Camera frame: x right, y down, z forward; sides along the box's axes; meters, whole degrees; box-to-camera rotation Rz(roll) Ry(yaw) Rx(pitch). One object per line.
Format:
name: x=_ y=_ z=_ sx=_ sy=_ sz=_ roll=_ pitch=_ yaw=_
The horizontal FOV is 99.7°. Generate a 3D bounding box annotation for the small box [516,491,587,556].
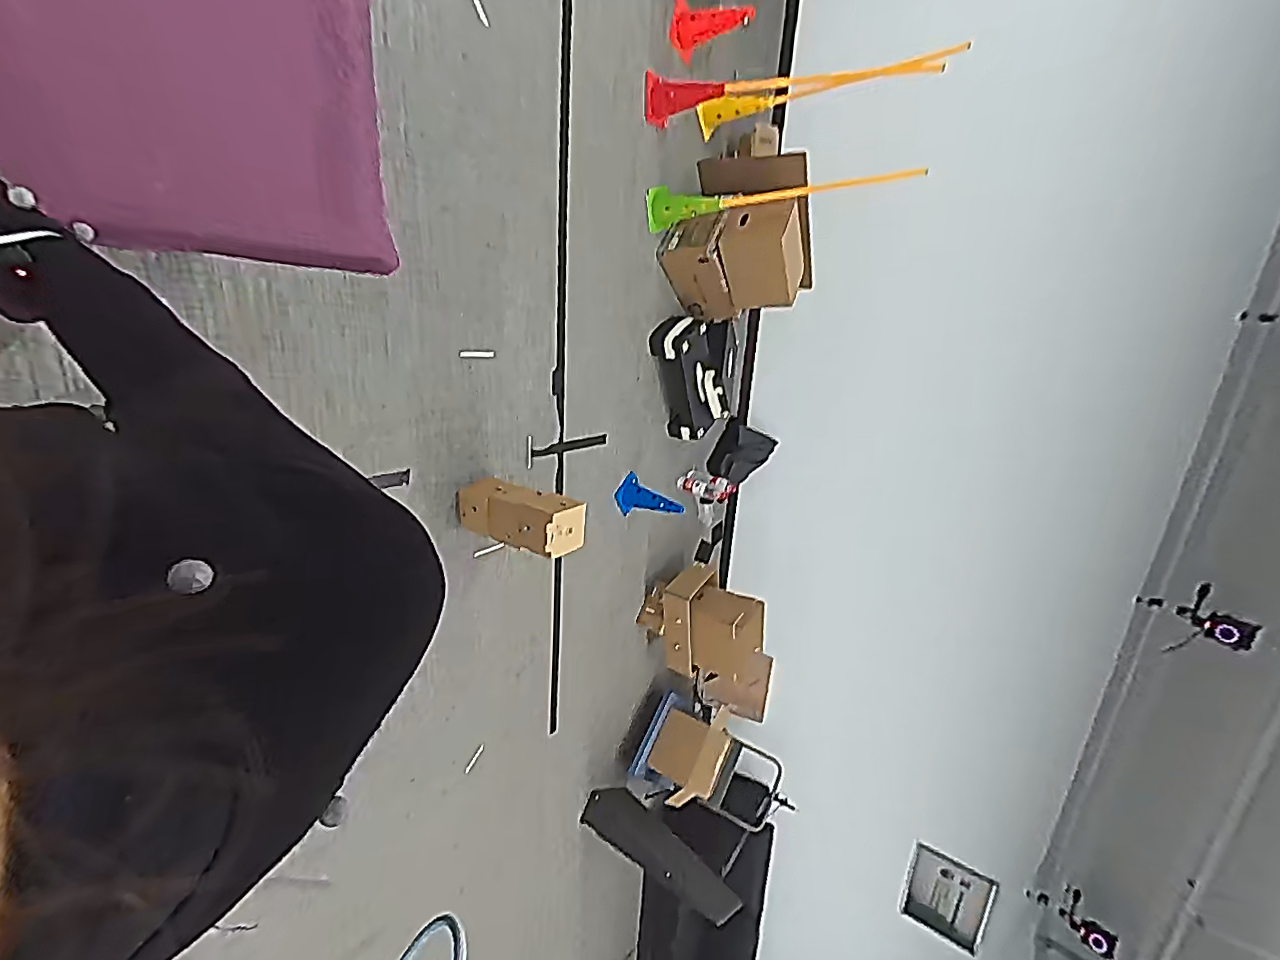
small box: x=-0.310 y=0.146 z=1.901 sx=0.179 sy=0.176 sz=0.168 roll=-17 pitch=117 yaw=-53

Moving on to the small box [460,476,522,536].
small box: x=-0.578 y=0.096 z=2.090 sx=0.179 sy=0.176 sz=0.168 roll=-24 pitch=122 yaw=-51
